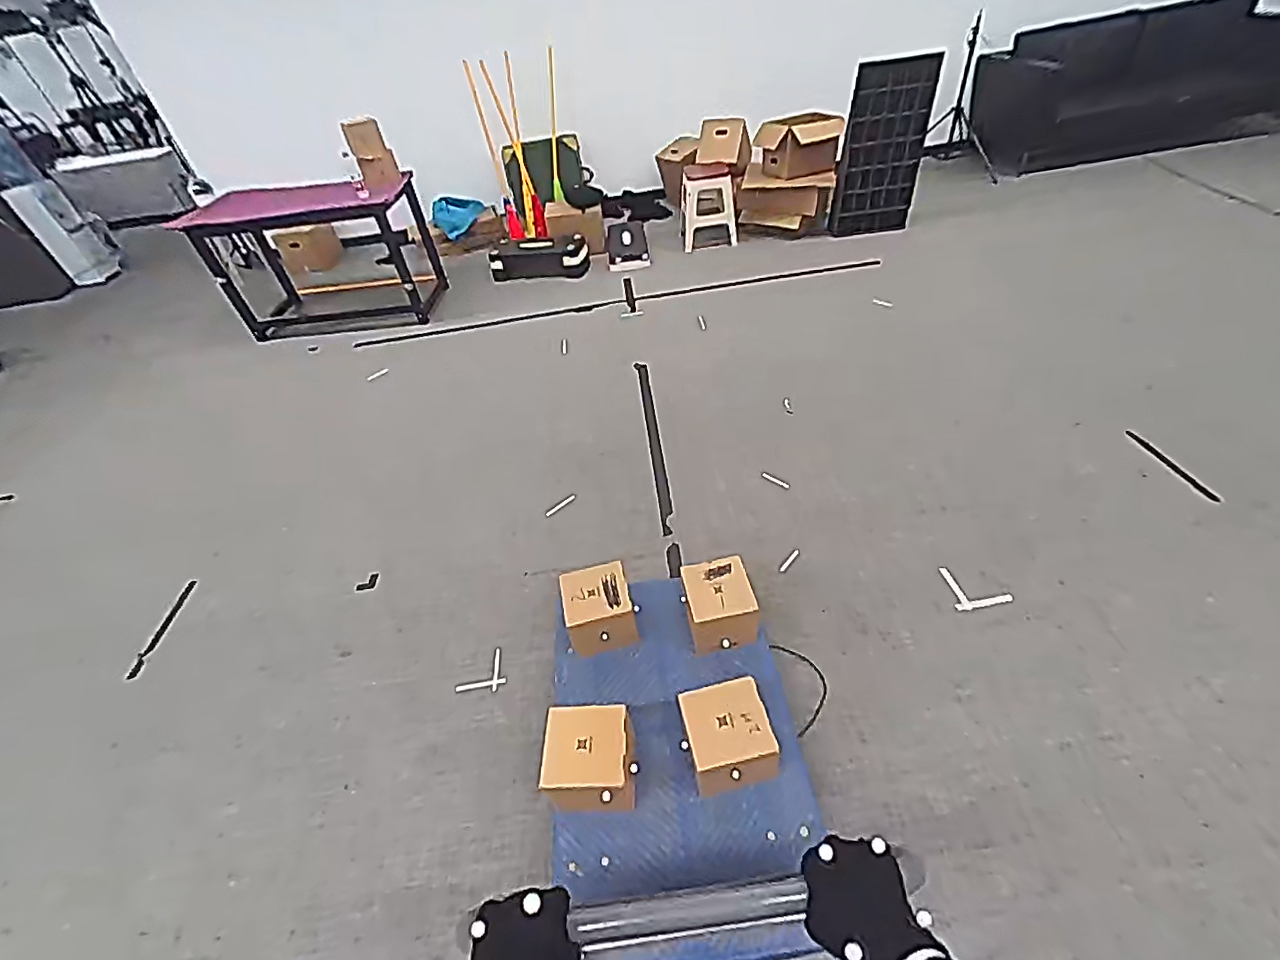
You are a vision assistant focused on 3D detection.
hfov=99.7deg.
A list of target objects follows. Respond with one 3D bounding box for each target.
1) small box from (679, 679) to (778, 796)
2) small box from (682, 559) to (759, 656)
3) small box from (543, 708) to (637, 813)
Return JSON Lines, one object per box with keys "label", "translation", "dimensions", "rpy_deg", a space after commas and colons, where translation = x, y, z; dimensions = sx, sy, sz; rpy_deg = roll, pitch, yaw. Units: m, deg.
{"label": "small box", "translation": [0.197, 0.578, 1.207], "dimensions": [0.179, 0.176, 0.168], "rpy_deg": [-13, 43, -3]}
{"label": "small box", "translation": [0.212, 0.343, 1.451], "dimensions": [0.168, 0.176, 0.179], "rpy_deg": [-11, 44, -2]}
{"label": "small box", "translation": [-0.105, 0.629, 1.208], "dimensions": [0.179, 0.176, 0.168], "rpy_deg": [-4, 43, 4]}
